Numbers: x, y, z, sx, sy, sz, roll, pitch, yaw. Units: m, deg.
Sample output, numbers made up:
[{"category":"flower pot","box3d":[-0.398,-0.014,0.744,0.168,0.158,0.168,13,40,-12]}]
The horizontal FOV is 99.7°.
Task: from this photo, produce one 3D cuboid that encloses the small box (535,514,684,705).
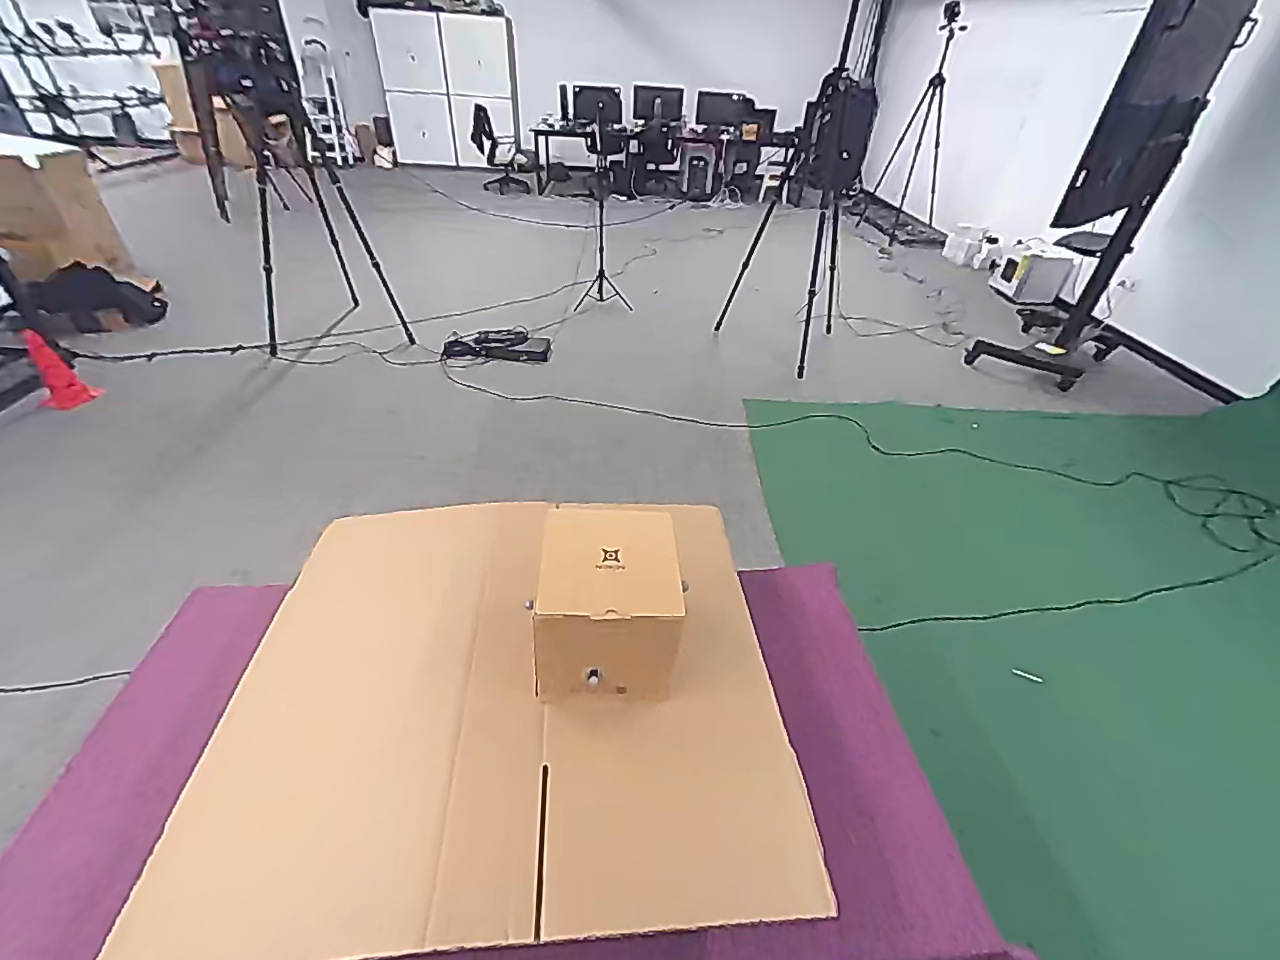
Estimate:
[{"category":"small box","box3d":[-0.043,0.165,0.700,0.168,0.176,0.179,2,39,-5]}]
